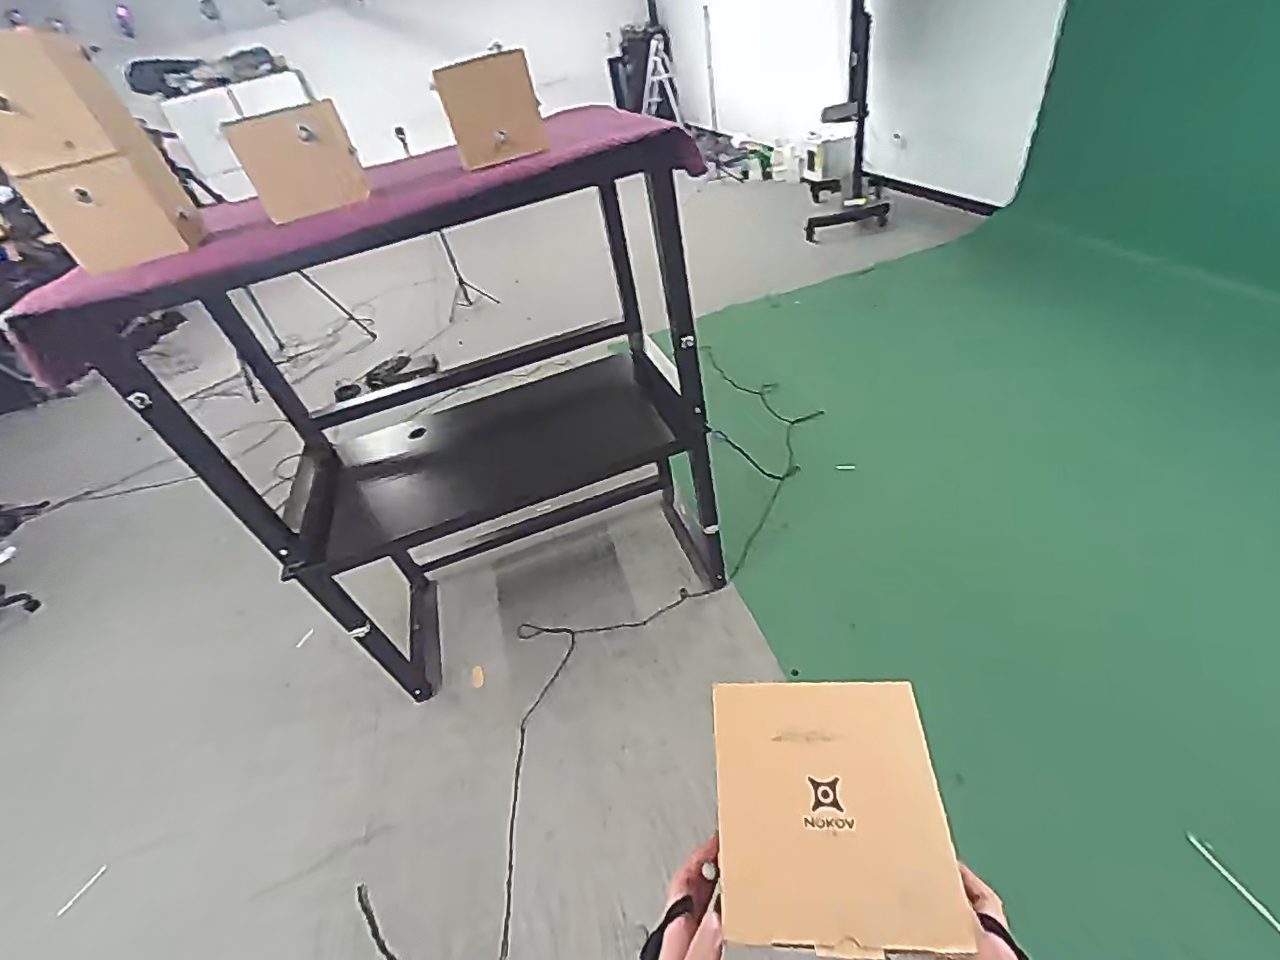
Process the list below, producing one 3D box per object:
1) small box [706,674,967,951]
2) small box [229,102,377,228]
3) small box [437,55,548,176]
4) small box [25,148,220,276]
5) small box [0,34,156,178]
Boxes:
[{"bbox_3d":[0.146,0.282,0.469,0.168,0.176,0.179,-3,52,7],"label":"small box"},{"bbox_3d":[-0.646,-0.620,1.064,0.179,0.176,0.168,-19,39,-6],"label":"small box"},{"bbox_3d":[-0.295,-0.741,1.101,0.179,0.176,0.168,-19,38,-6],"label":"small box"},{"bbox_3d":[-0.953,-0.504,1.019,0.179,0.176,0.168,-21,40,-9],"label":"small box"},{"bbox_3d":[-0.984,-0.627,0.918,0.168,0.176,0.179,-22,40,-10],"label":"small box"}]
